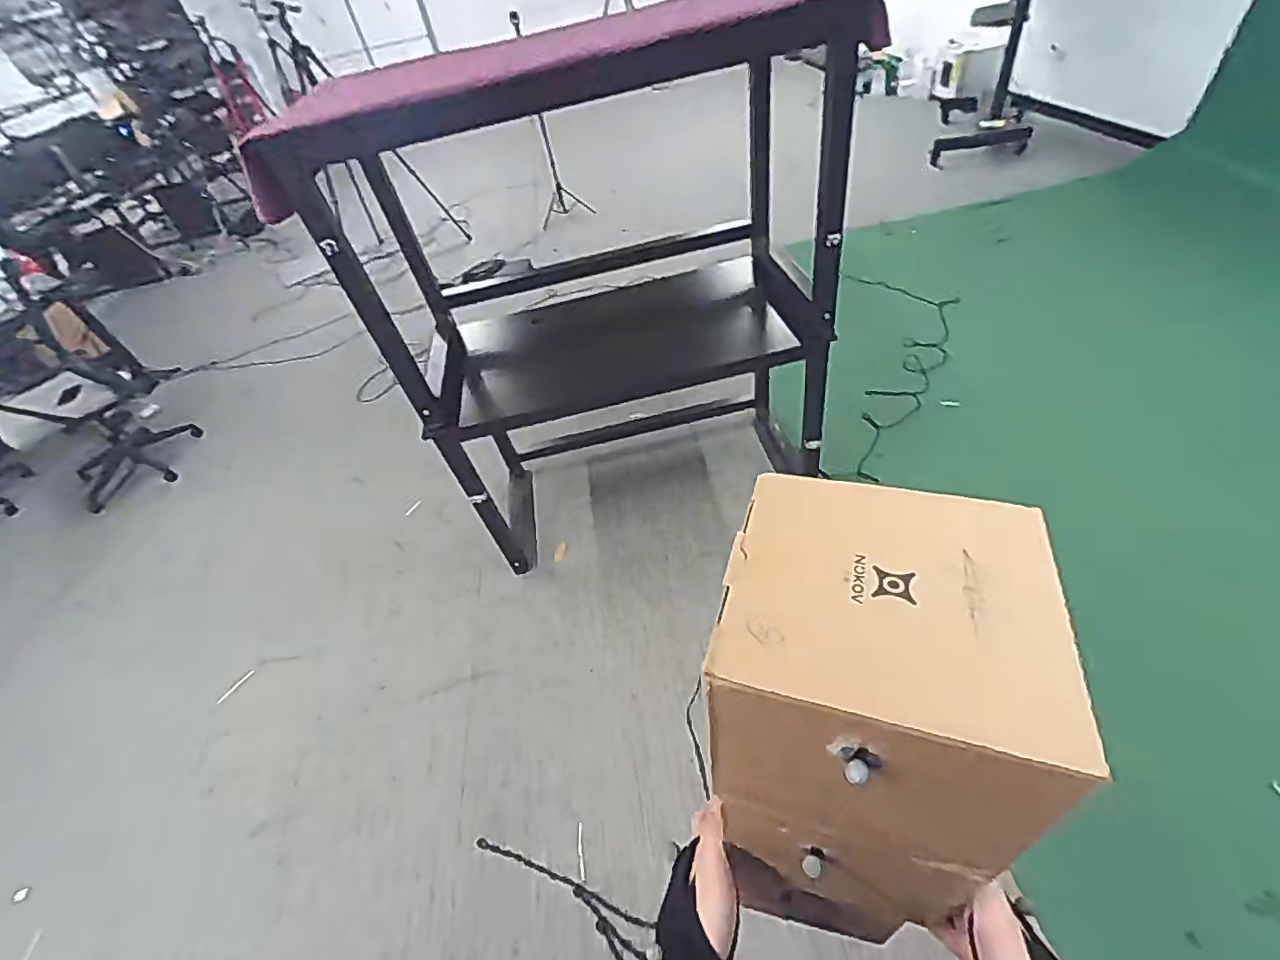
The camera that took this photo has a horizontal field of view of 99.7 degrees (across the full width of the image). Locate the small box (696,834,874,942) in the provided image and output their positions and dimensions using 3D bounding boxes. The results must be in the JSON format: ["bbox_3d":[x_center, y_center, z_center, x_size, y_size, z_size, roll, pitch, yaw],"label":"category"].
[{"bbox_3d":[0.159,0.348,0.571,0.168,0.176,0.179,6,43,15],"label":"small box"}]

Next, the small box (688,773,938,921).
[{"bbox_3d":[0.147,0.233,0.453,0.179,0.176,0.168,7,43,17],"label":"small box"}]

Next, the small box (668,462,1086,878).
[{"bbox_3d":[0.130,0.113,0.342,0.179,0.176,0.168,11,45,19],"label":"small box"}]
